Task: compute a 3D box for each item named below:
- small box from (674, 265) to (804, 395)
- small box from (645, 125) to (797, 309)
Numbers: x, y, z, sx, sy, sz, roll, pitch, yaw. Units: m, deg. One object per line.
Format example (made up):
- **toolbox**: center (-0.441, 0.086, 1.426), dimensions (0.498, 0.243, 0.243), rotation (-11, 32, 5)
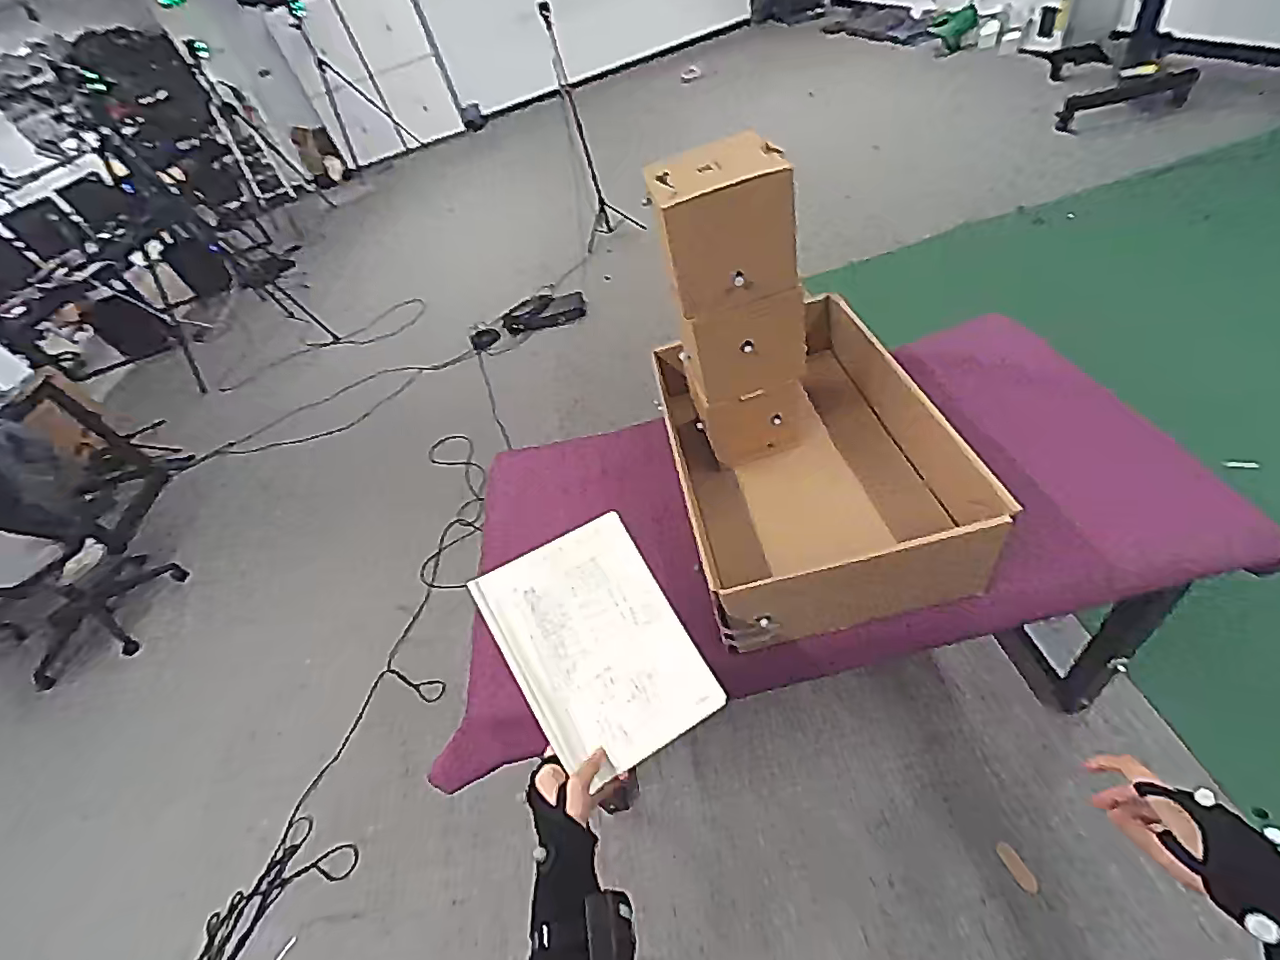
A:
- **small box**: center (0.161, -0.271, 0.903), dimensions (0.179, 0.176, 0.168), rotation (-18, 46, 3)
- **small box**: center (0.118, -0.379, 0.788), dimensions (0.179, 0.176, 0.168), rotation (-15, 46, 4)
